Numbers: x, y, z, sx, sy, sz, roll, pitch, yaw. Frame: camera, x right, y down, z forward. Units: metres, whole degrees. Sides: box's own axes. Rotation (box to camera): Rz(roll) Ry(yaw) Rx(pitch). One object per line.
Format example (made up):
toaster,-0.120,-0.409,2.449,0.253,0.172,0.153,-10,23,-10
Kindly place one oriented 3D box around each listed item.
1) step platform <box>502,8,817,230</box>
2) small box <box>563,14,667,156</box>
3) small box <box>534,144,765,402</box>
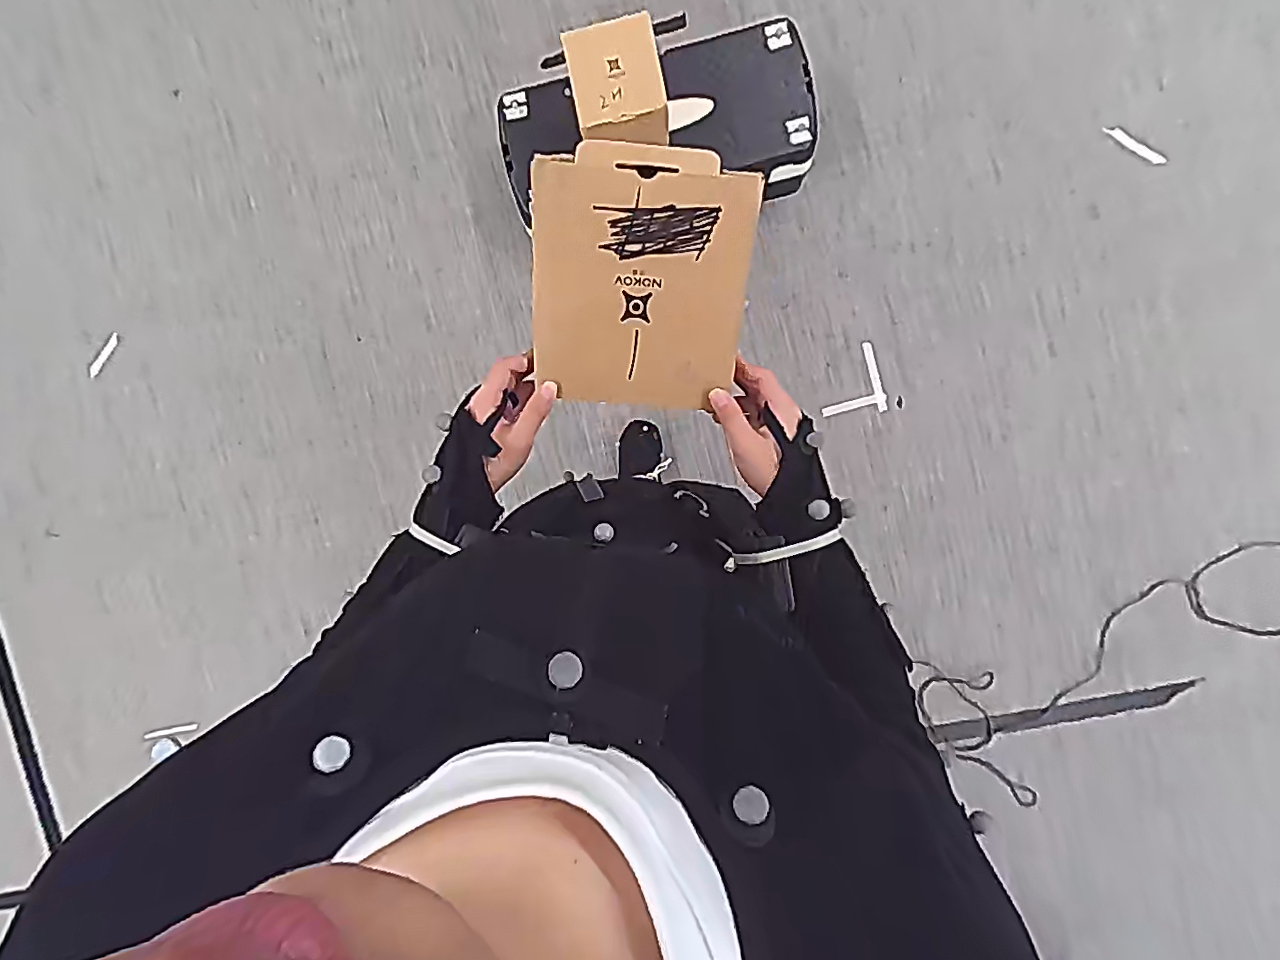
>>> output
step platform,0.041,-0.785,1.223,0.684,0.204,0.286,-13,92,4
small box,-0.043,-0.740,1.055,0.168,0.176,0.179,-11,93,4
small box,0.003,-0.184,0.488,0.168,0.176,0.179,5,116,0
